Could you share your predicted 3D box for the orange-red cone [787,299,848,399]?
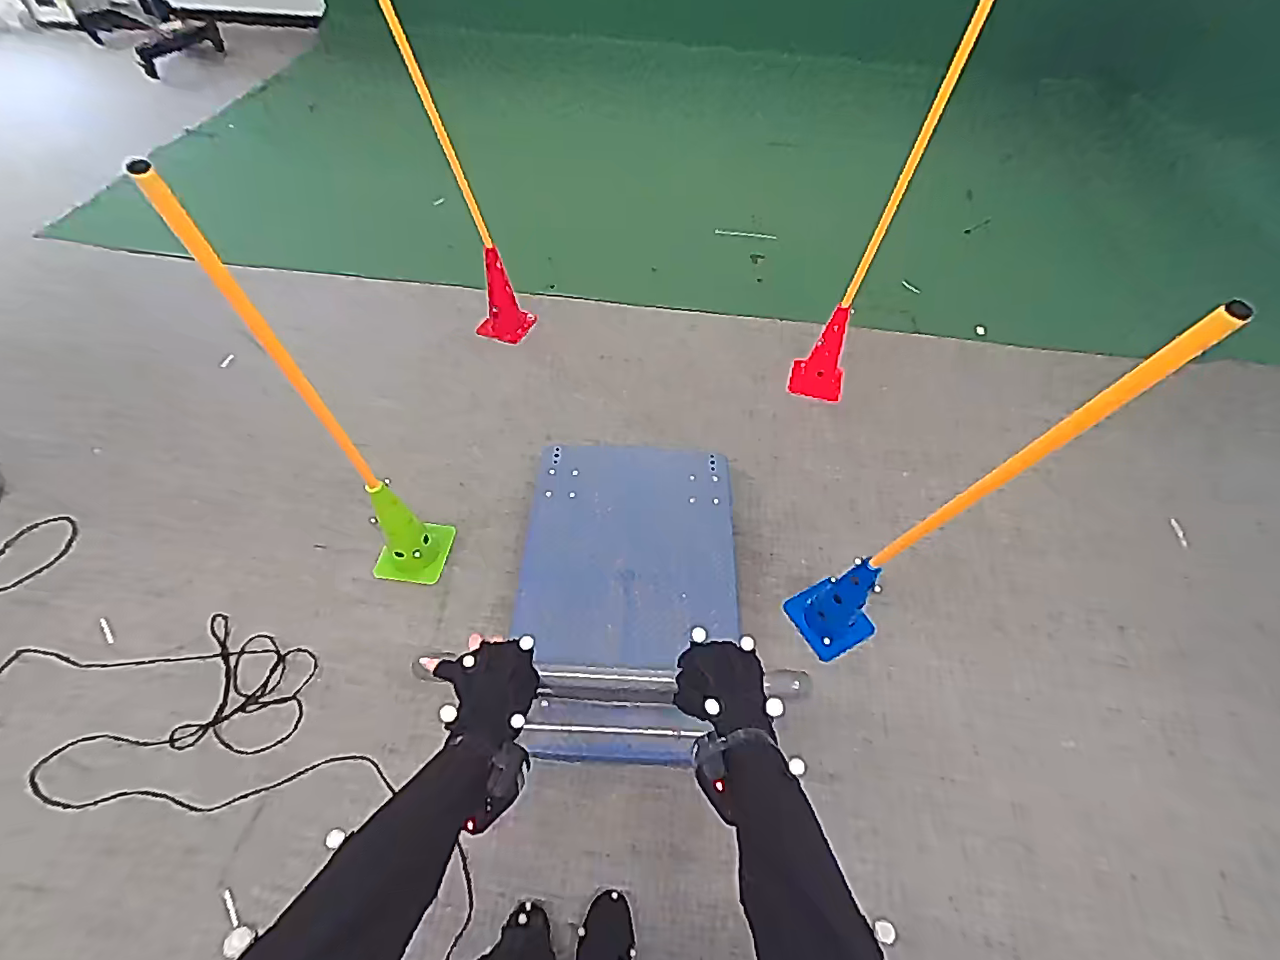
[{"bbox_3d":[0.691,-0.503,1.987,0.198,0.360,0.199,16,57,10],"label":"orange-red cone"}]
